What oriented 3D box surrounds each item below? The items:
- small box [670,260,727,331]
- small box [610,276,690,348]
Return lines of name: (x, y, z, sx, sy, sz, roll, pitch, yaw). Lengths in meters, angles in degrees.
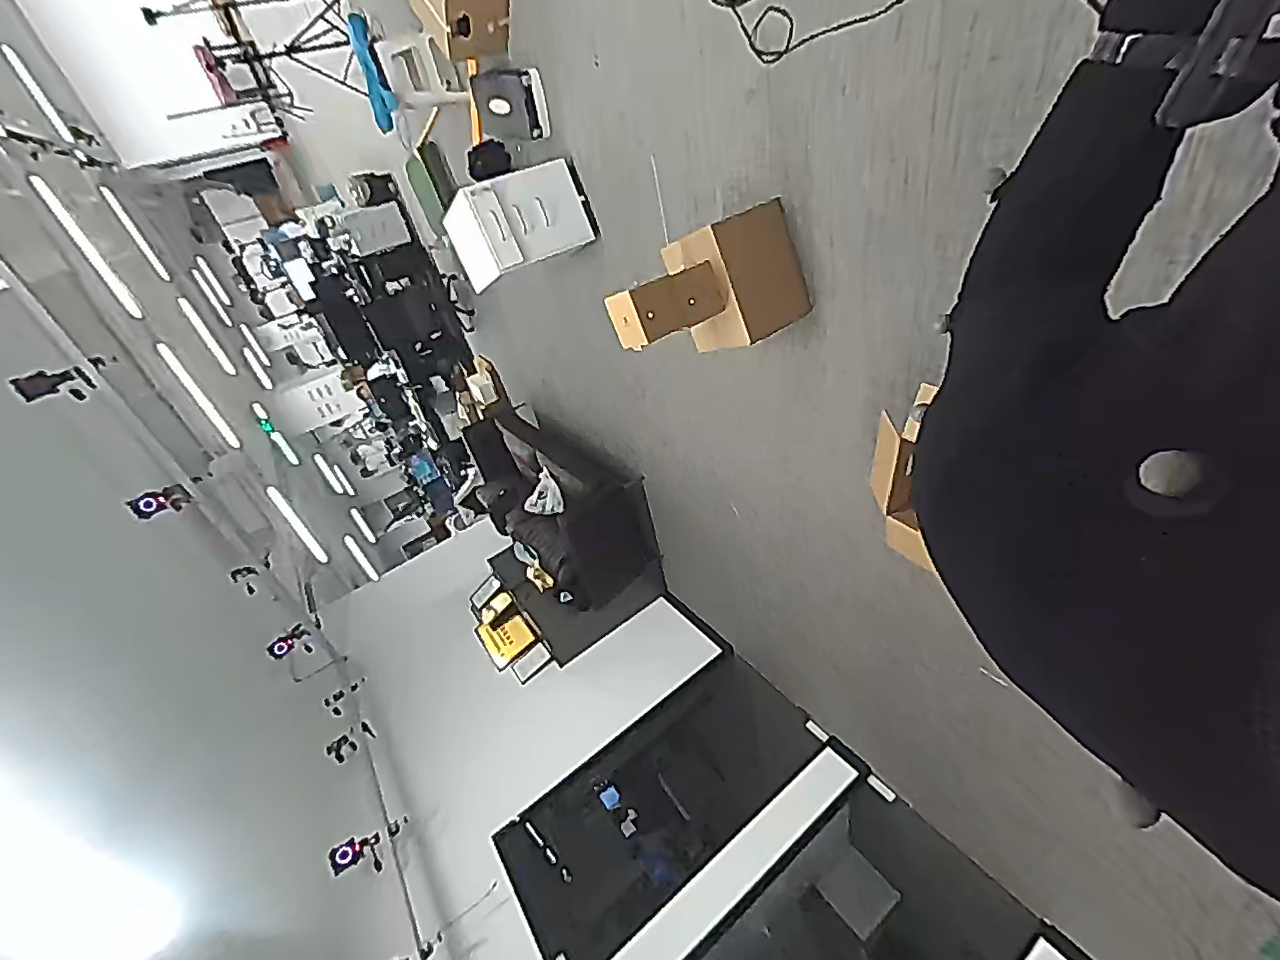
small box: (0.170, -0.621, 1.837, 0.168, 0.176, 0.179, 12, 129, 60)
small box: (0.036, -0.554, 1.771, 0.168, 0.176, 0.179, 13, 130, 59)
